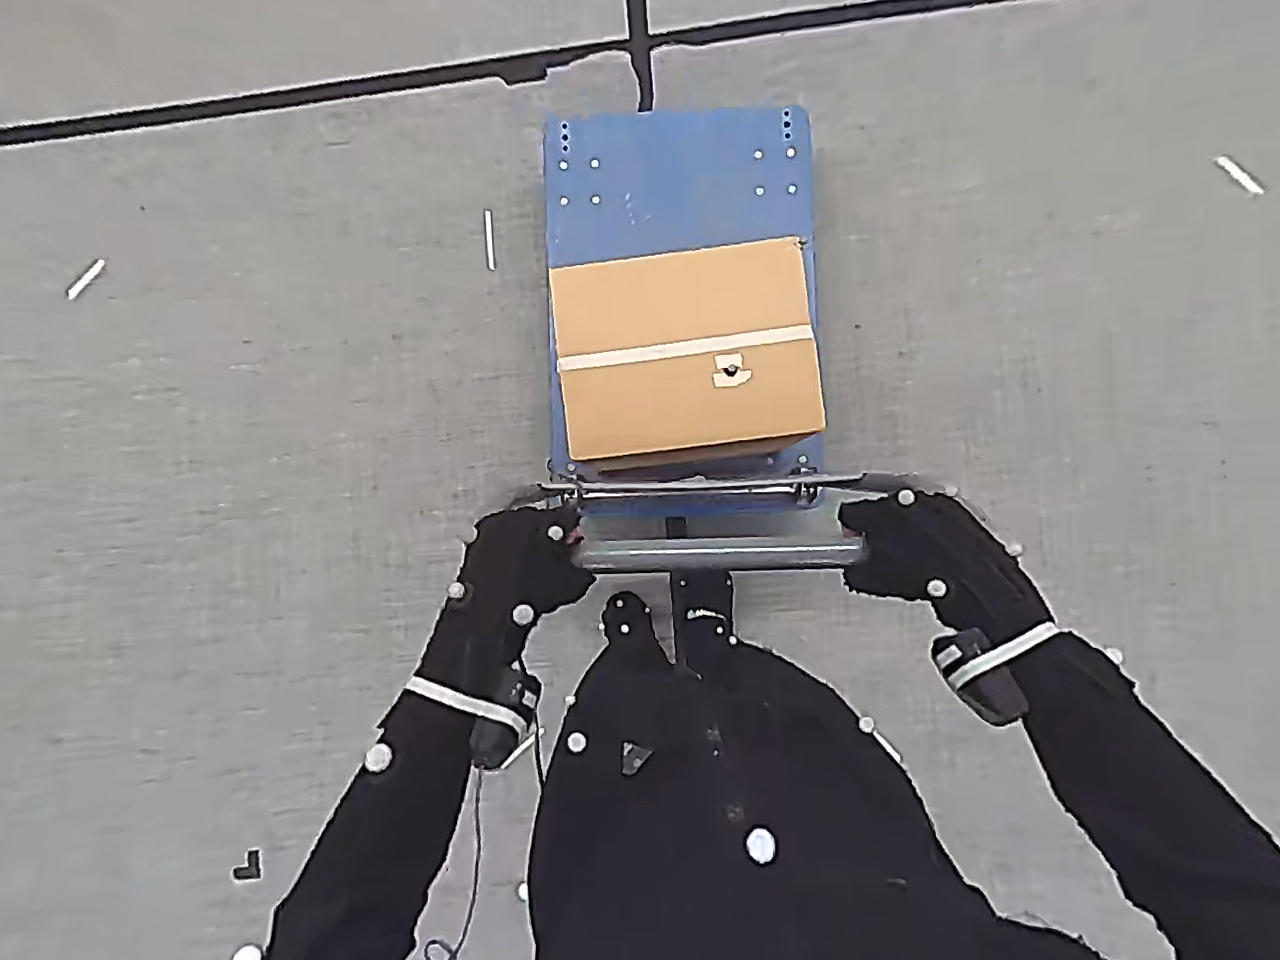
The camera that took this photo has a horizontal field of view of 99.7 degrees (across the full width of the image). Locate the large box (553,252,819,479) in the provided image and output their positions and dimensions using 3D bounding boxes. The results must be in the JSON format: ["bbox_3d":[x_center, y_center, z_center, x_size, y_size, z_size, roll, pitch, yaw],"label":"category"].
[{"bbox_3d":[0.074,-0.187,1.024,0.408,0.320,0.320,-7,88,1],"label":"large box"}]
